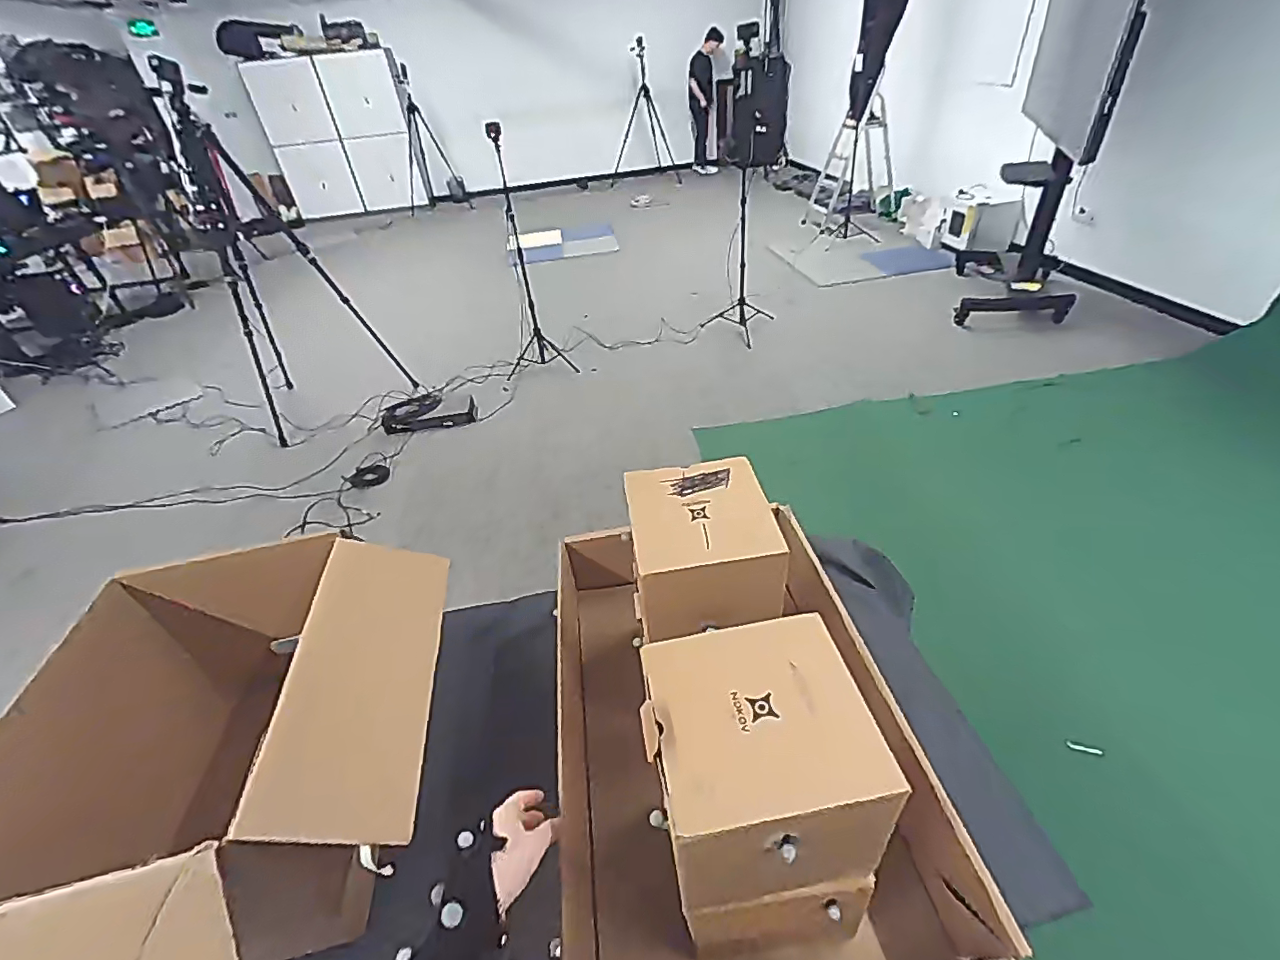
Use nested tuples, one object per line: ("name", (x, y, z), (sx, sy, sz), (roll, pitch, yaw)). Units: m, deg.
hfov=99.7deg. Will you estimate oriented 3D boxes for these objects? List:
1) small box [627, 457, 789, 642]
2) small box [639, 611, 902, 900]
("small box", (0.077, 0.095, 0.693), (0.168, 0.176, 0.179), (-9, 41, -2))
("small box", (0.104, 0.251, 0.497), (0.179, 0.176, 0.168), (-9, 38, -4))
